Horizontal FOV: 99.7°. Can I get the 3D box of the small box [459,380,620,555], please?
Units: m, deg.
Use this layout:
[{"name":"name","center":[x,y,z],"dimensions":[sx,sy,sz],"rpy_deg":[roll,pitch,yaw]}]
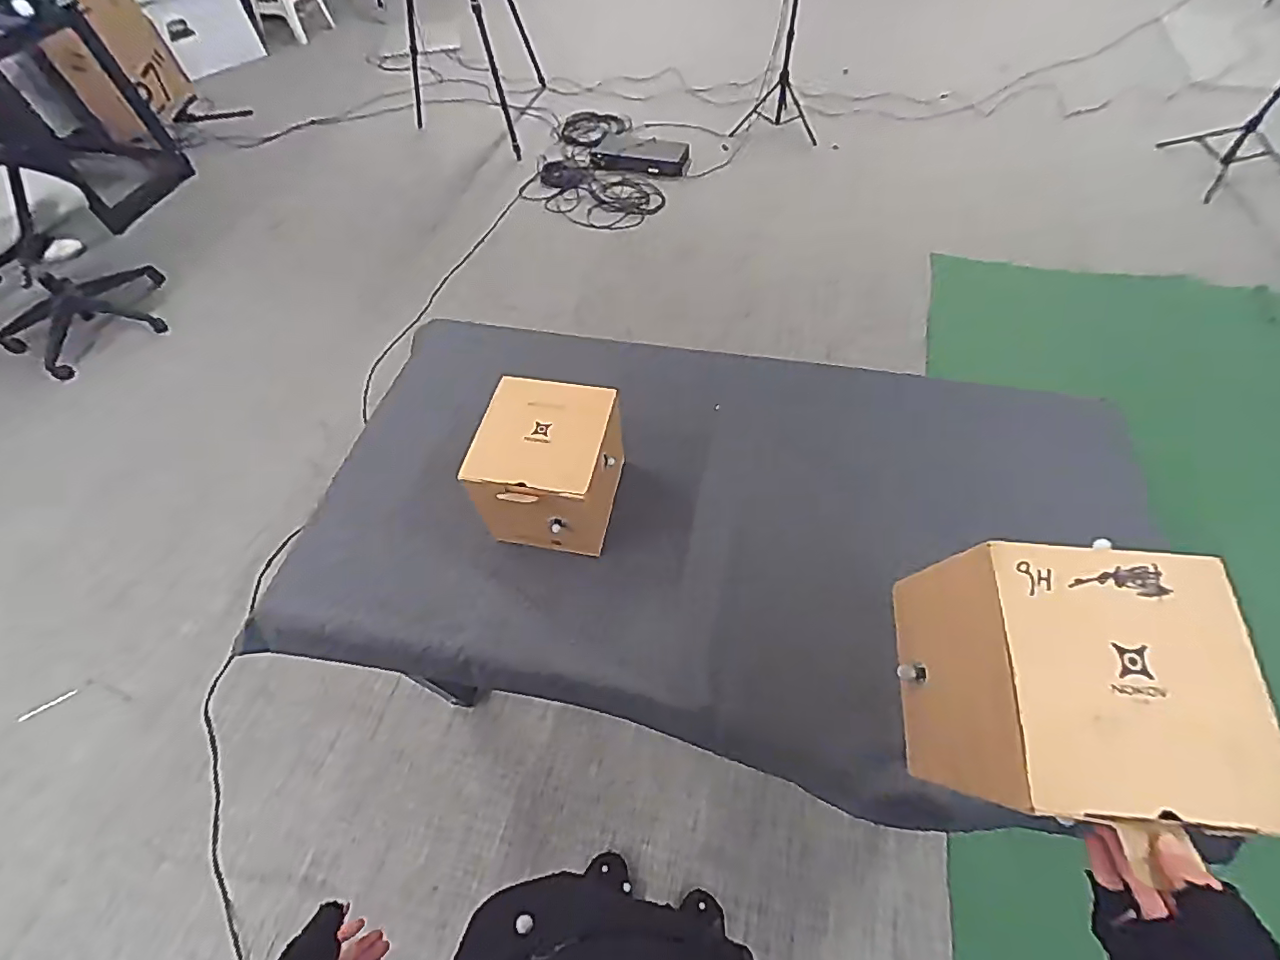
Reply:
[{"name":"small box","center":[-0.125,-0.013,0.761],"dimensions":[0.168,0.176,0.179],"rpy_deg":[8,56,7]}]
